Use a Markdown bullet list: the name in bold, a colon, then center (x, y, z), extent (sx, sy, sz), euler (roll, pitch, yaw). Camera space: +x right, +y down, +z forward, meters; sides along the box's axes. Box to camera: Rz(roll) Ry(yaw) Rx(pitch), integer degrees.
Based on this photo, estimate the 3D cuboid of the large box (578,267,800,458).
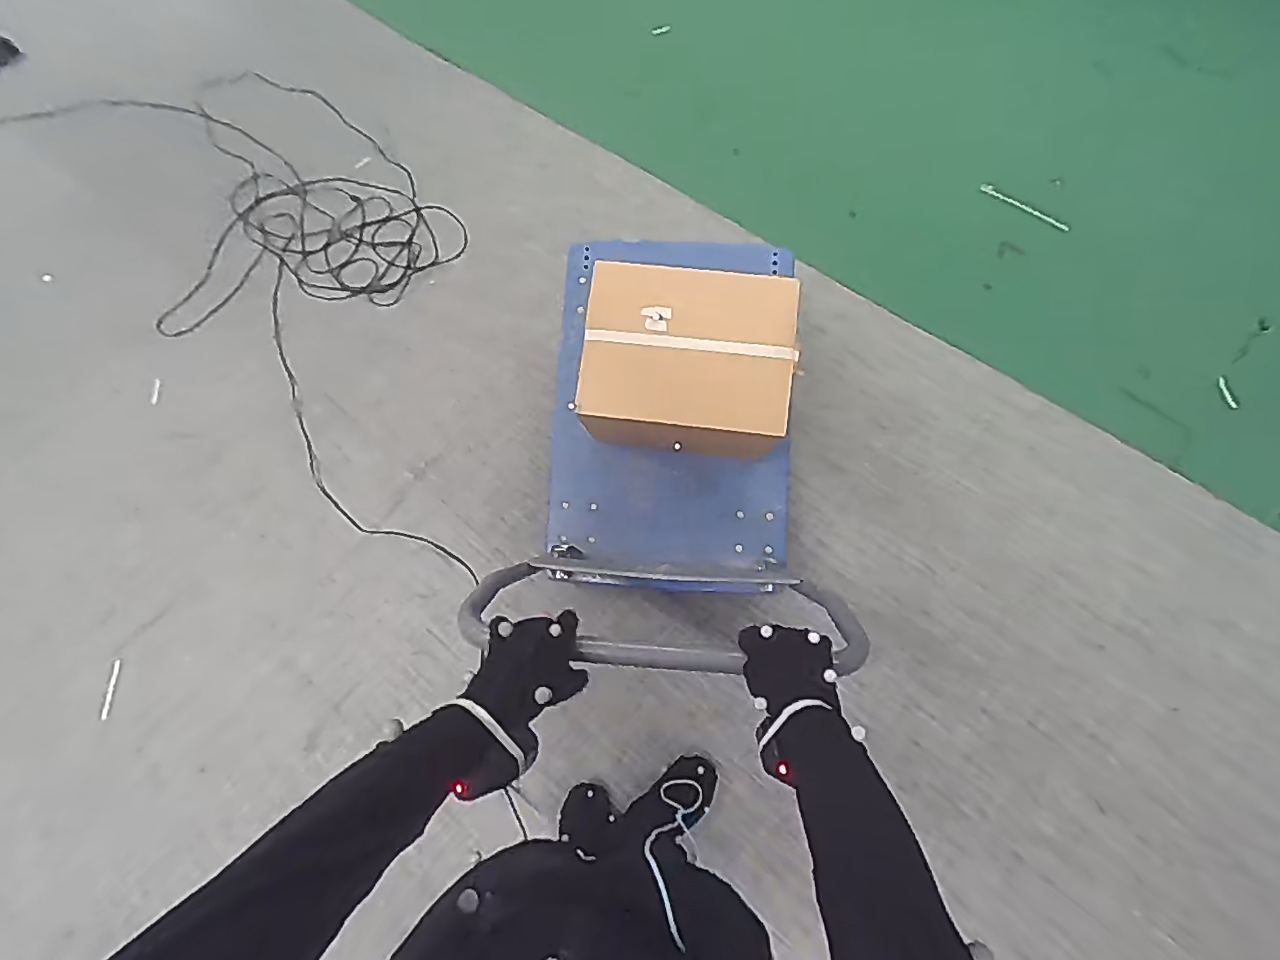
- **large box**: center (0.107, -0.235, 1.182), extent (0.408, 0.320, 0.320), euler (7, 84, 5)
